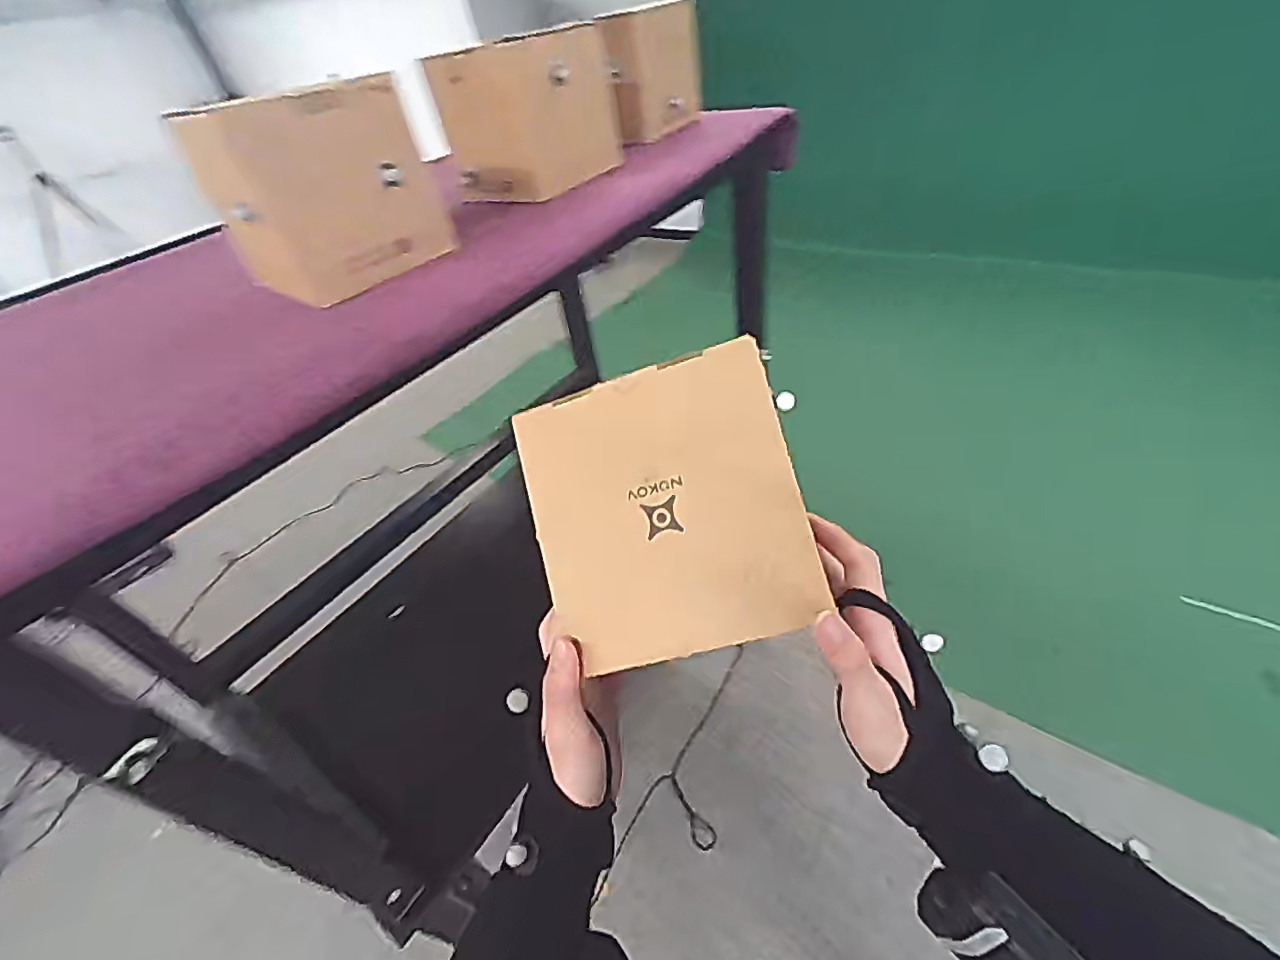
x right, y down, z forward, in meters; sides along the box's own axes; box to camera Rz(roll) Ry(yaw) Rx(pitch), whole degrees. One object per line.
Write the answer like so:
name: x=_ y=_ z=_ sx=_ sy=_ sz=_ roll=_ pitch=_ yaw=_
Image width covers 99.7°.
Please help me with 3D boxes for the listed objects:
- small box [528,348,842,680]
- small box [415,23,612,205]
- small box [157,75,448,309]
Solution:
small box: x=0.041 y=0.029 z=0.408 sx=0.168 sy=0.176 sz=0.179 roll=-16 pitch=80 yaw=13
small box: x=-0.157 y=-0.487 z=0.734 sx=0.168 sy=0.176 sz=0.179 roll=18 pitch=49 yaw=31
small box: x=-0.334 y=-0.295 z=0.561 sx=0.179 sy=0.176 sz=0.168 roll=24 pitch=52 yaw=35
